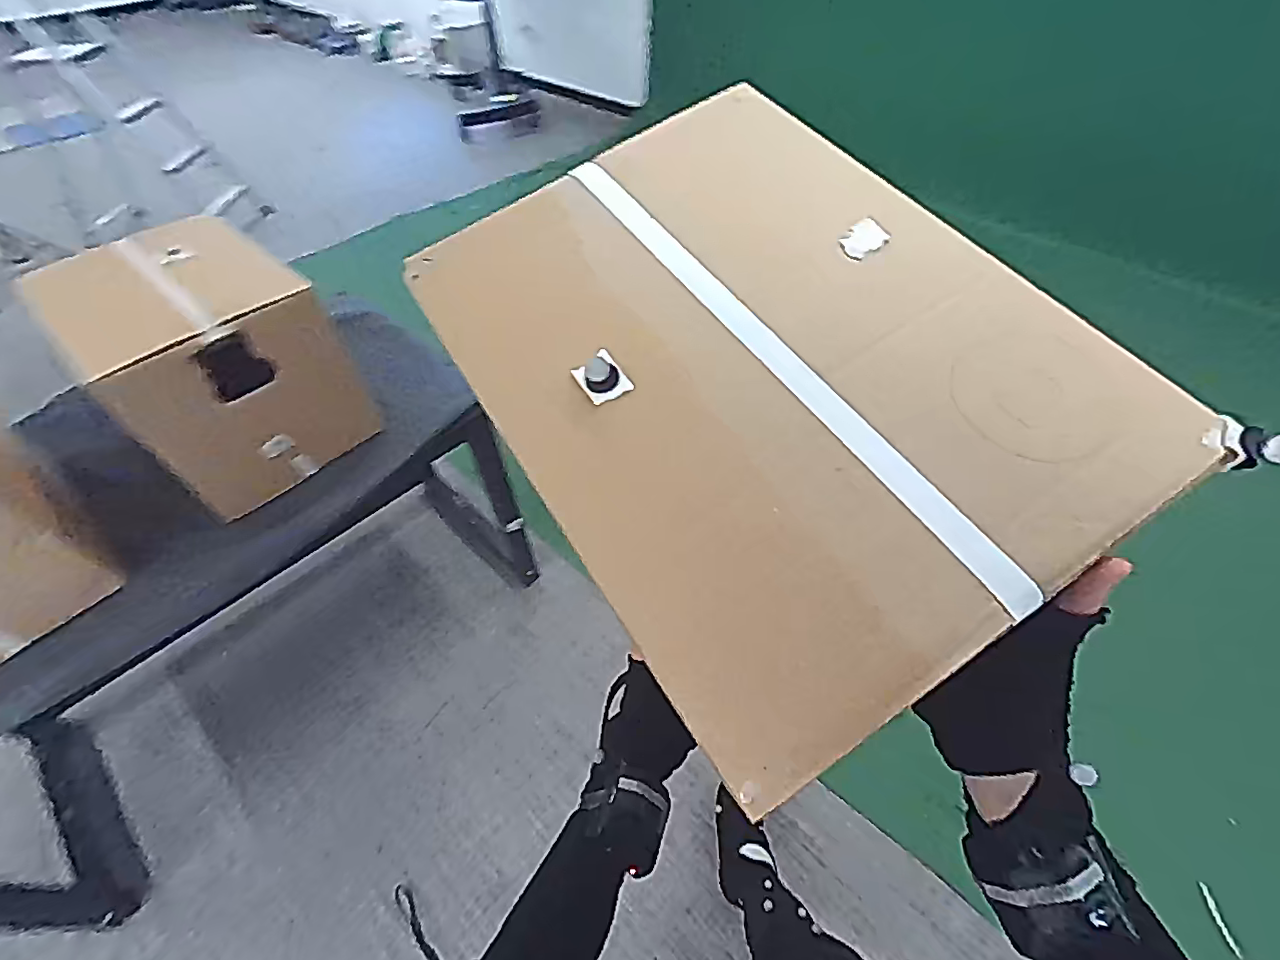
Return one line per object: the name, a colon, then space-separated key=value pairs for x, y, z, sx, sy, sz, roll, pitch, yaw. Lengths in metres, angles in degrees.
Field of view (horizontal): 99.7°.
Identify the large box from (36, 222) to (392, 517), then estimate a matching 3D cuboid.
large box: x=-0.740 y=-0.207 z=0.982 sx=0.408 sy=0.320 sz=0.320 roll=34 pitch=59 yaw=27
